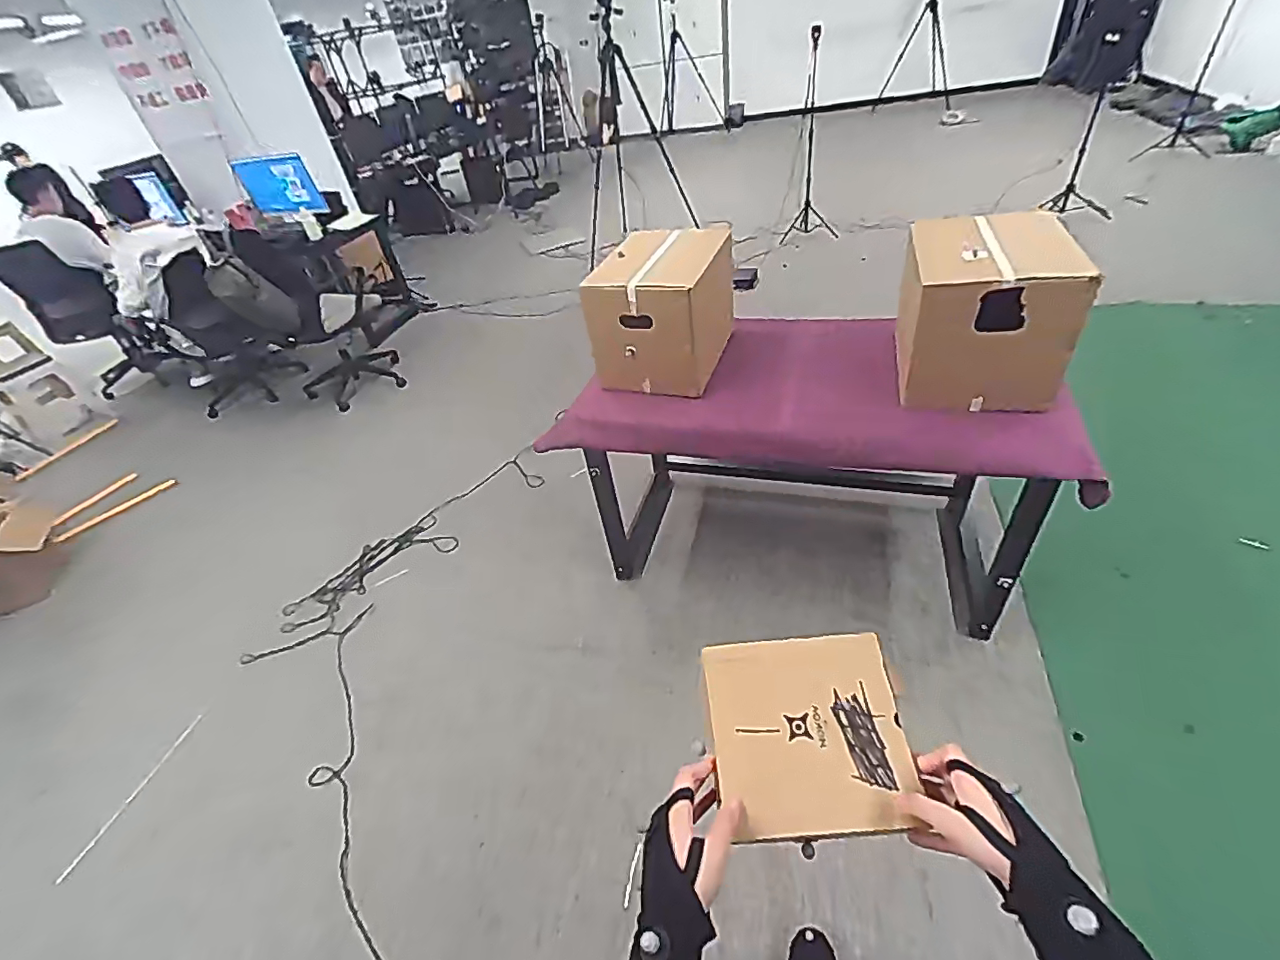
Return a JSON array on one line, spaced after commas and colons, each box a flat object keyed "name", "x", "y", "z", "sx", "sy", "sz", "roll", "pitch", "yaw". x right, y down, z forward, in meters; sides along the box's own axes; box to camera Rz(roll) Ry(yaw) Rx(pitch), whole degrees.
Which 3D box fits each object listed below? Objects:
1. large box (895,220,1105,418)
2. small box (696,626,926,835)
[{"name": "large box", "x": 0.813, "y": -0.390, "z": 1.300, "sx": 0.320, "sy": 0.320, "sz": 0.408, "roll": 3, "pitch": 42, "yaw": 20}, {"name": "small box", "x": 0.153, "y": 0.263, "z": 0.559, "sx": 0.179, "sy": 0.176, "sz": 0.168, "roll": -5, "pitch": 54, "yaw": 2}]
